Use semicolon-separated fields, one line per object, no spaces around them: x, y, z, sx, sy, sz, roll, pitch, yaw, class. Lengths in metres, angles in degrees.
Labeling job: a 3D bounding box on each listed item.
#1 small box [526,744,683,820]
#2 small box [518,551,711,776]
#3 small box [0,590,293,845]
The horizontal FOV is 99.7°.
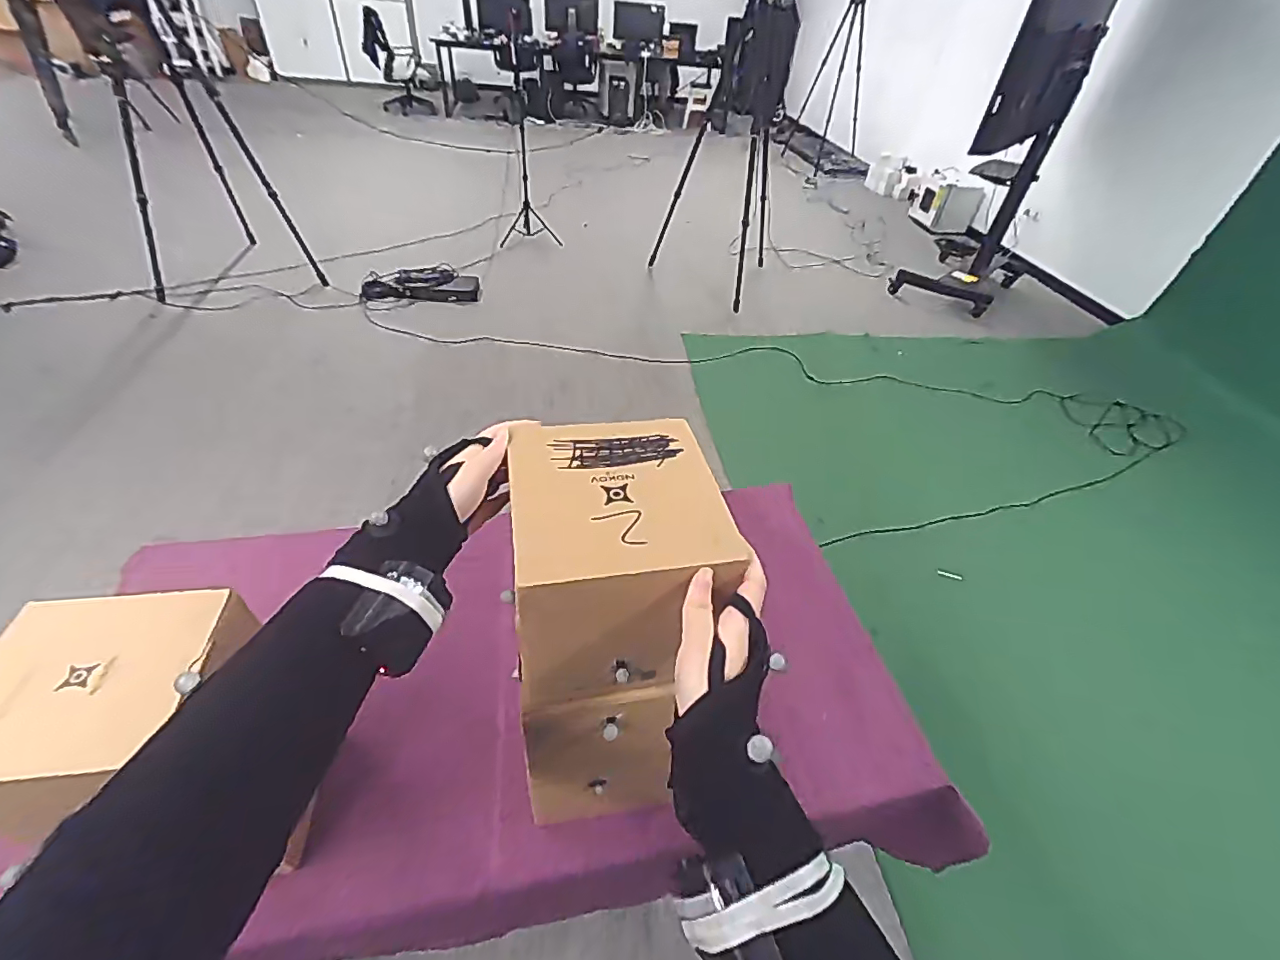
-0.053;0.317;0.701;0.179;0.176;0.168;-4;44;-10;small box
-0.038;0.199;0.590;0.179;0.176;0.168;-5;45;-10;small box
-0.470;0.224;0.515;0.179;0.176;0.168;-3;44;-8;small box
